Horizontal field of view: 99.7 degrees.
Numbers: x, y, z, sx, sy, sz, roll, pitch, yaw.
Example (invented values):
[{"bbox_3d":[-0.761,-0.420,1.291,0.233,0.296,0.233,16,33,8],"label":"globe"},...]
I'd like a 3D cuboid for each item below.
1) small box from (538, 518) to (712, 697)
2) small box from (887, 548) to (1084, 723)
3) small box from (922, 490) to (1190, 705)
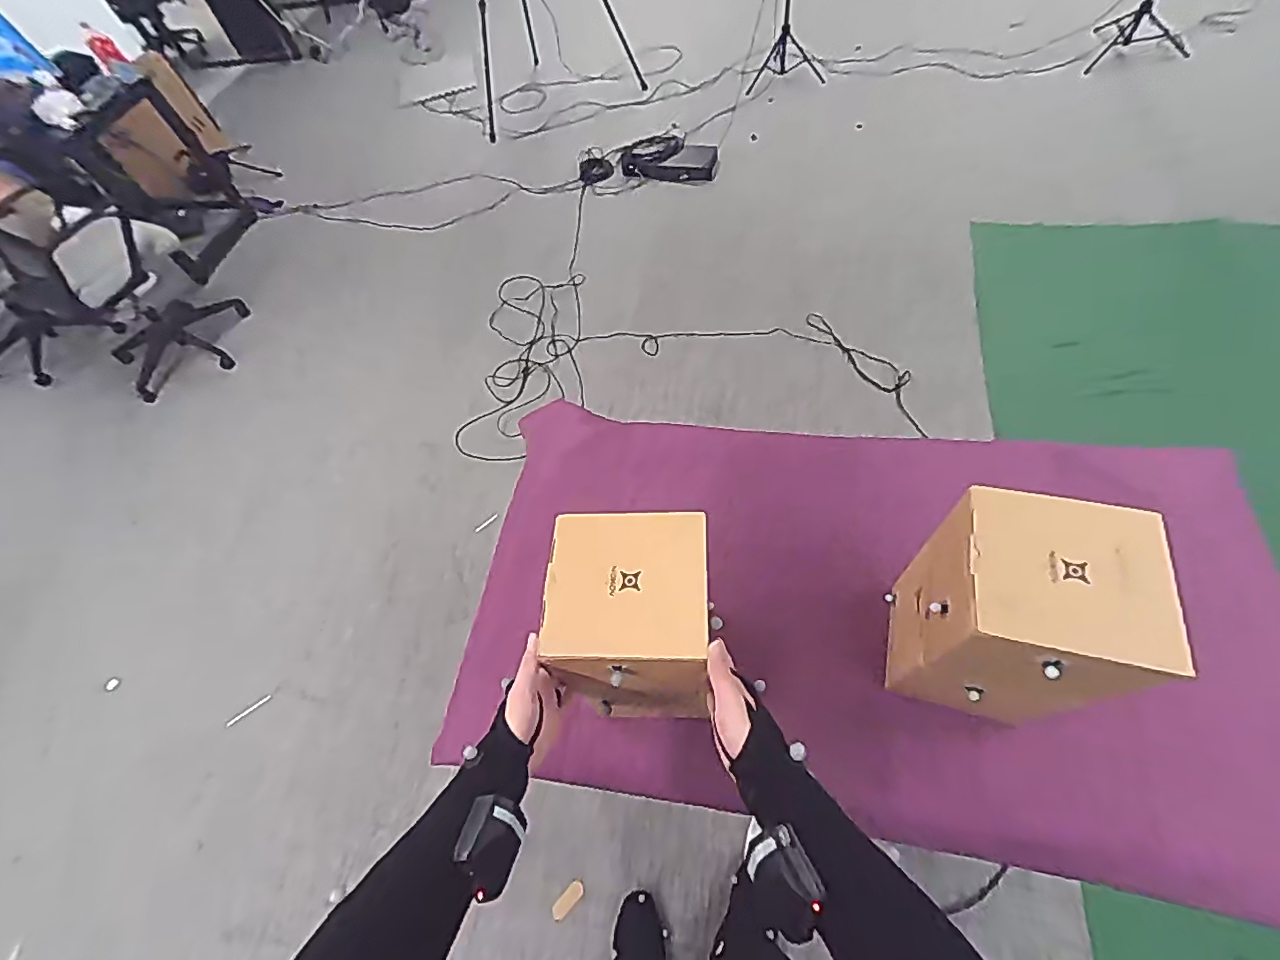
[{"bbox_3d":[-0.004,0.156,0.644,0.179,0.176,0.168,-2,58,8],"label":"small box"},{"bbox_3d":[0.449,0.215,0.732,0.179,0.176,0.168,11,61,14],"label":"small box"},{"bbox_3d":[0.426,0.134,0.592,0.179,0.176,0.168,10,62,14],"label":"small box"}]
